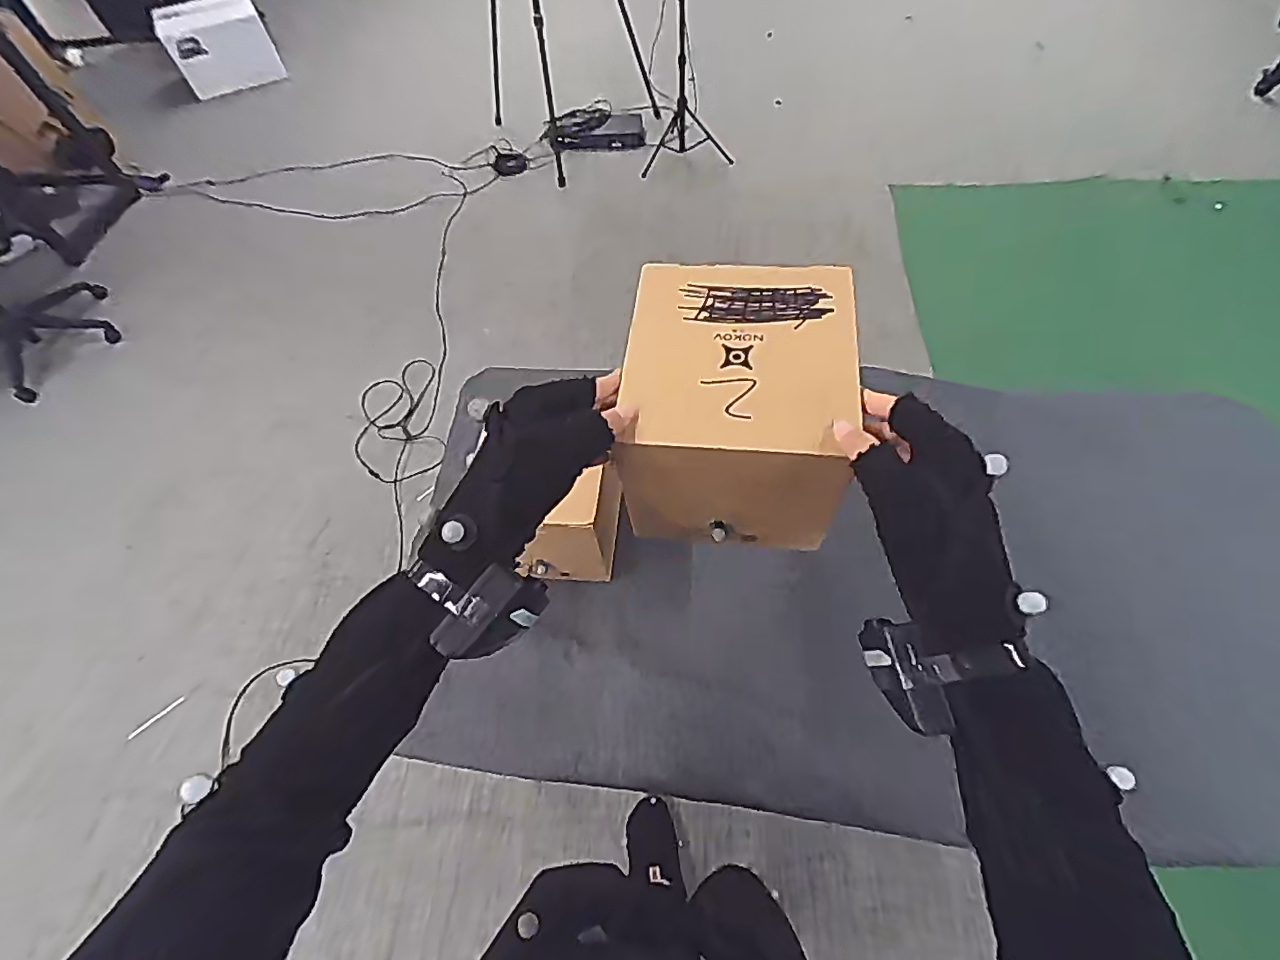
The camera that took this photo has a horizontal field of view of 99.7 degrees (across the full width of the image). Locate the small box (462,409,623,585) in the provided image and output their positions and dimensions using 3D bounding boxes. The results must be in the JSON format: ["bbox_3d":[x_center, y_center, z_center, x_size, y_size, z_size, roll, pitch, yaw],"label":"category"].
[{"bbox_3d":[-0.117,0.025,0.737,0.168,0.176,0.179,2,57,6],"label":"small box"}]
